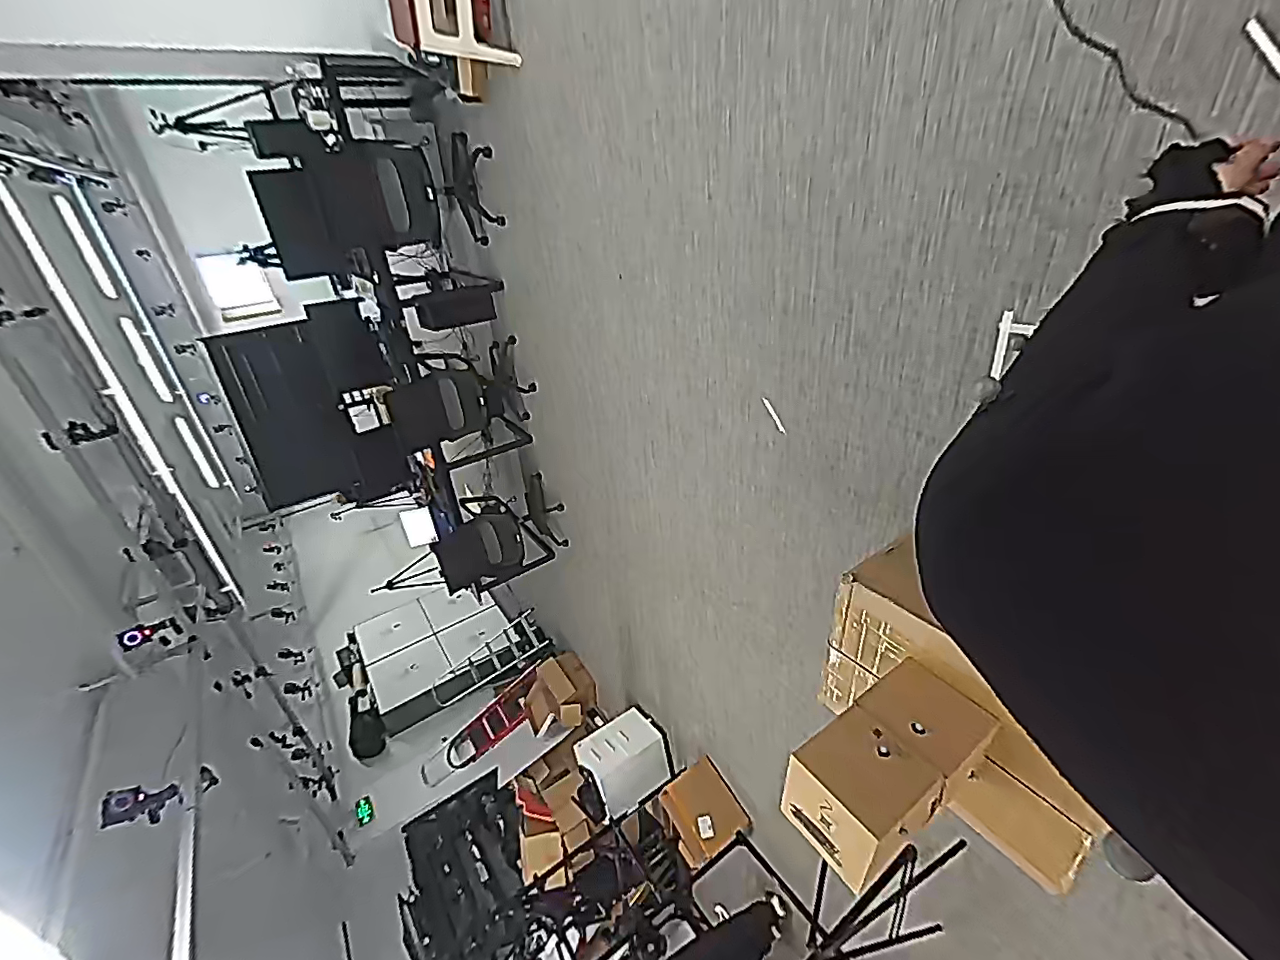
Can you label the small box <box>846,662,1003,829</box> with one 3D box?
[{"bbox_3d":[0.505,0.464,0.969,0.179,0.176,0.168,37,139,46],"label":"small box"}]
